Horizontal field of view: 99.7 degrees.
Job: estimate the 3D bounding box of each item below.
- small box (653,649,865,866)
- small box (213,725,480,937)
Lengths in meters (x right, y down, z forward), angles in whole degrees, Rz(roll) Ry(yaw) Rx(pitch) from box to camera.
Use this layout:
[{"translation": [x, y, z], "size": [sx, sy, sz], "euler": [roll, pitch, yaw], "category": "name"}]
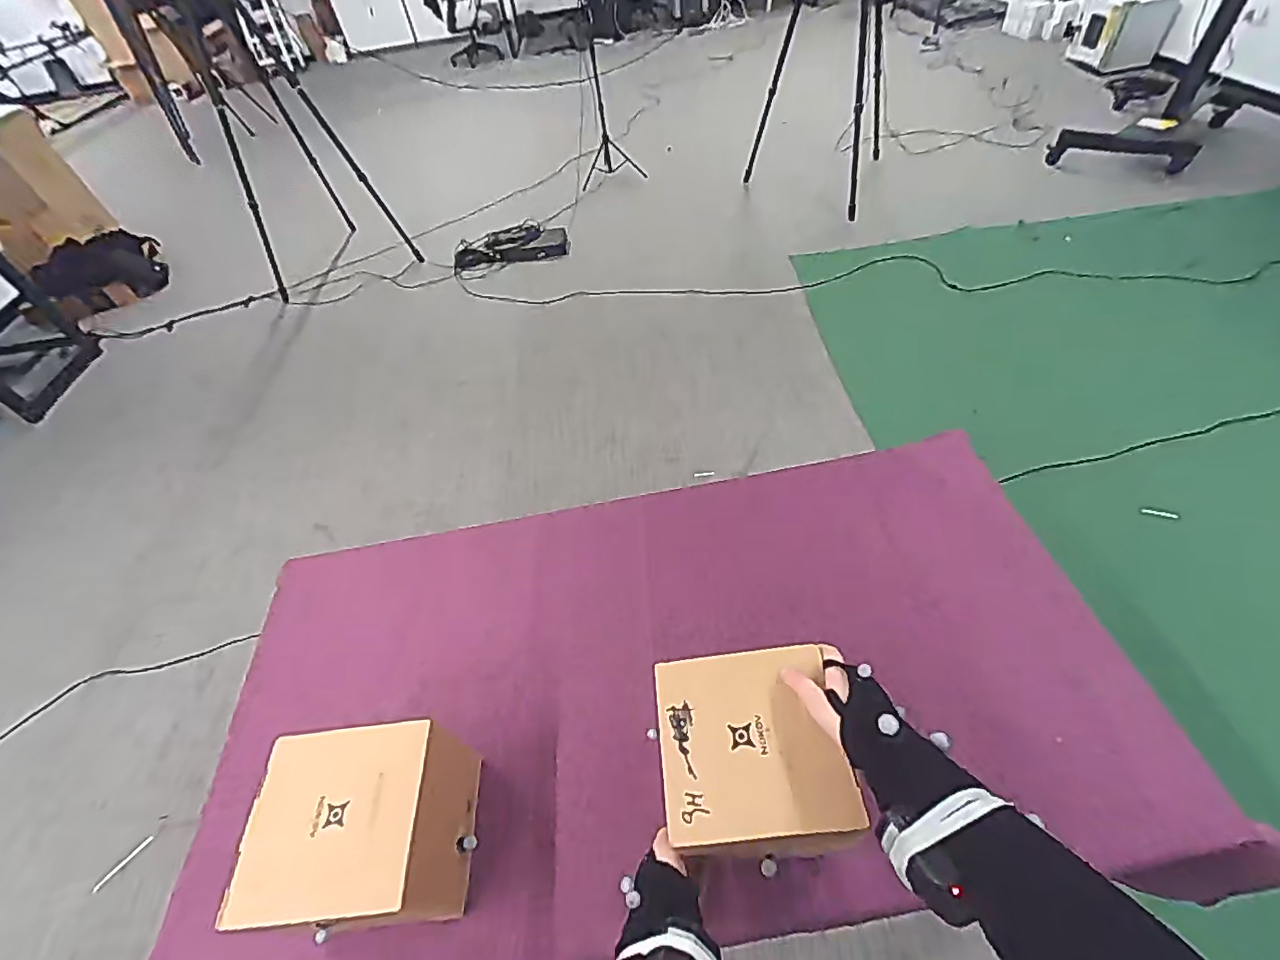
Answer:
[{"translation": [0.114, 0.299, 0.578], "size": [0.179, 0.176, 0.168], "euler": [-8, 49, 4], "category": "small box"}, {"translation": [-0.296, 0.387, 0.593], "size": [0.179, 0.176, 0.168], "euler": [-7, 50, 2], "category": "small box"}]
